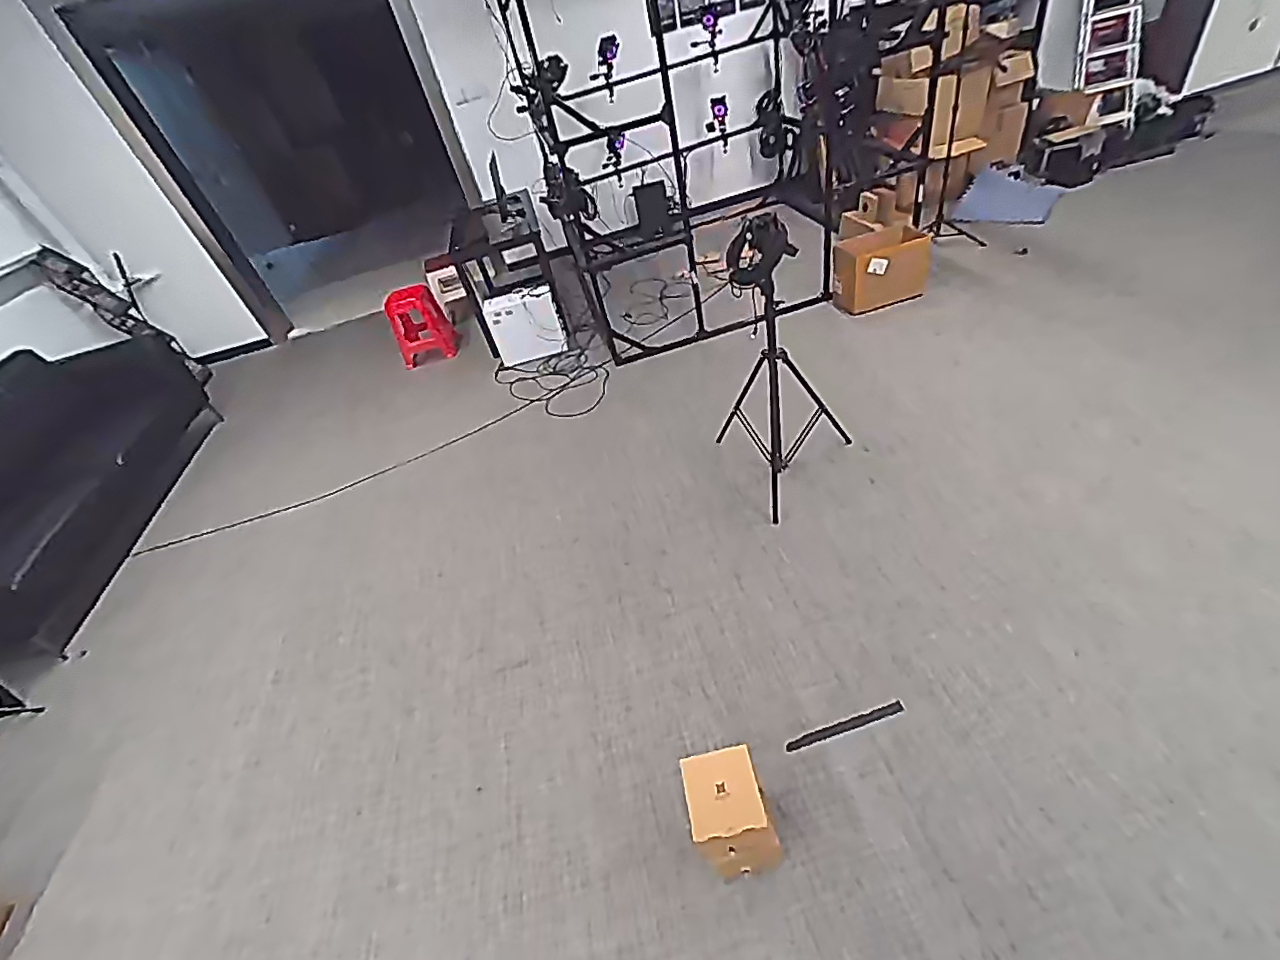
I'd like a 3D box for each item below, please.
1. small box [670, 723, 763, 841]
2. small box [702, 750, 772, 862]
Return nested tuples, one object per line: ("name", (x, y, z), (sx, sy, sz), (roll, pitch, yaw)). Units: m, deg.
("small box", (0.175, 0.695, 1.242), (0.168, 0.176, 0.179), (-15, 42, 3))
("small box", (0.221, 0.812, 1.346), (0.168, 0.176, 0.179), (-17, 41, 1))
